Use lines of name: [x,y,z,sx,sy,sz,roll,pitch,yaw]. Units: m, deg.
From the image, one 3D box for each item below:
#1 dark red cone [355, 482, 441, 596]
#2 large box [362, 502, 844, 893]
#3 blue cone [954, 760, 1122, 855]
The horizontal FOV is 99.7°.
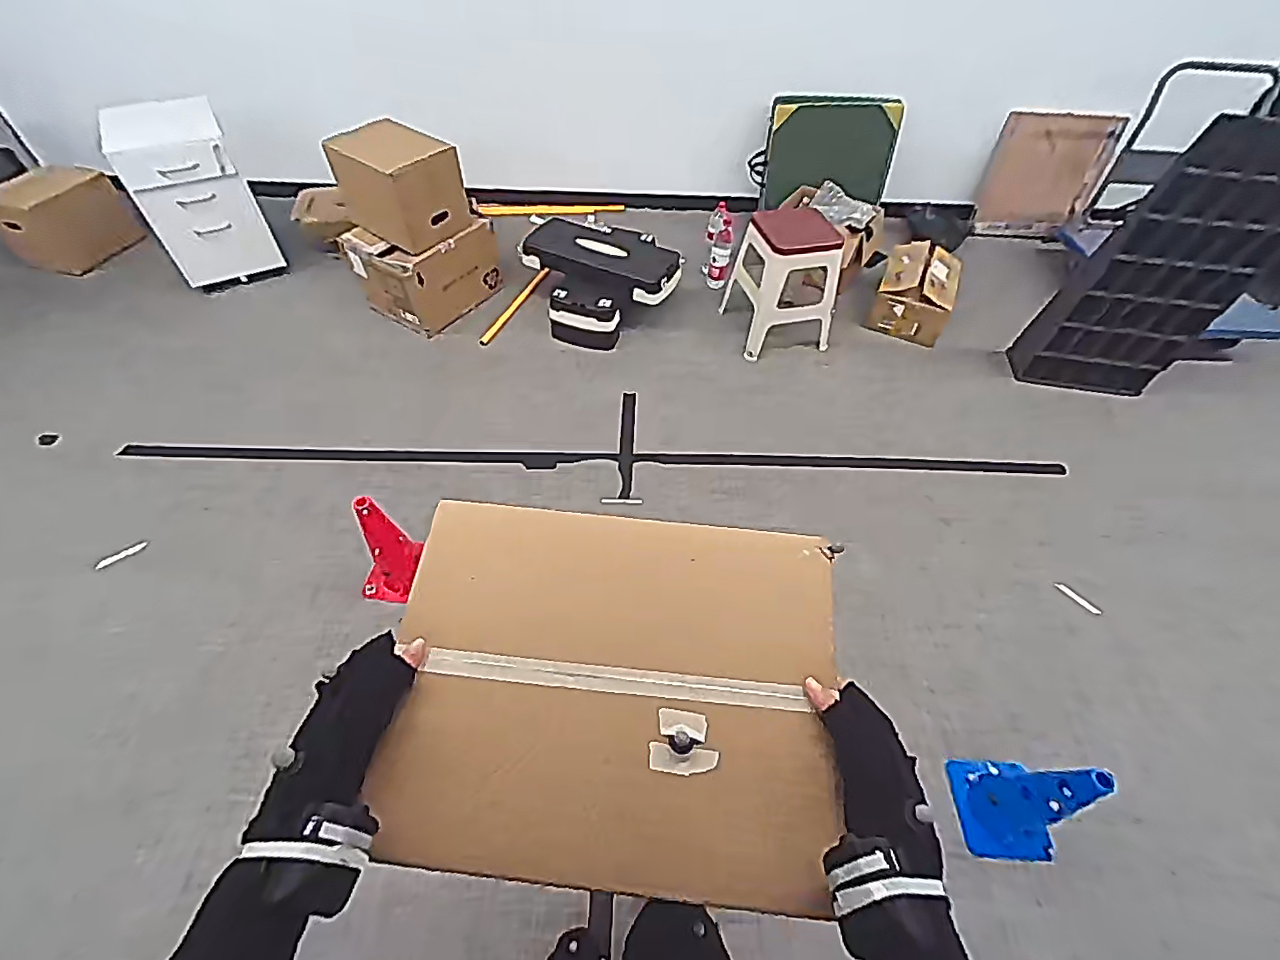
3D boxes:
dark red cone: [-0.688,0.142,1.467,0.201,0.394,0.202,7,52,2]
large box: [-0.023,0.242,0.635,0.408,0.320,0.320,6,65,2]
blue cone: [0.865,0.674,1.159,0.192,0.380,0.193,5,52,0]
